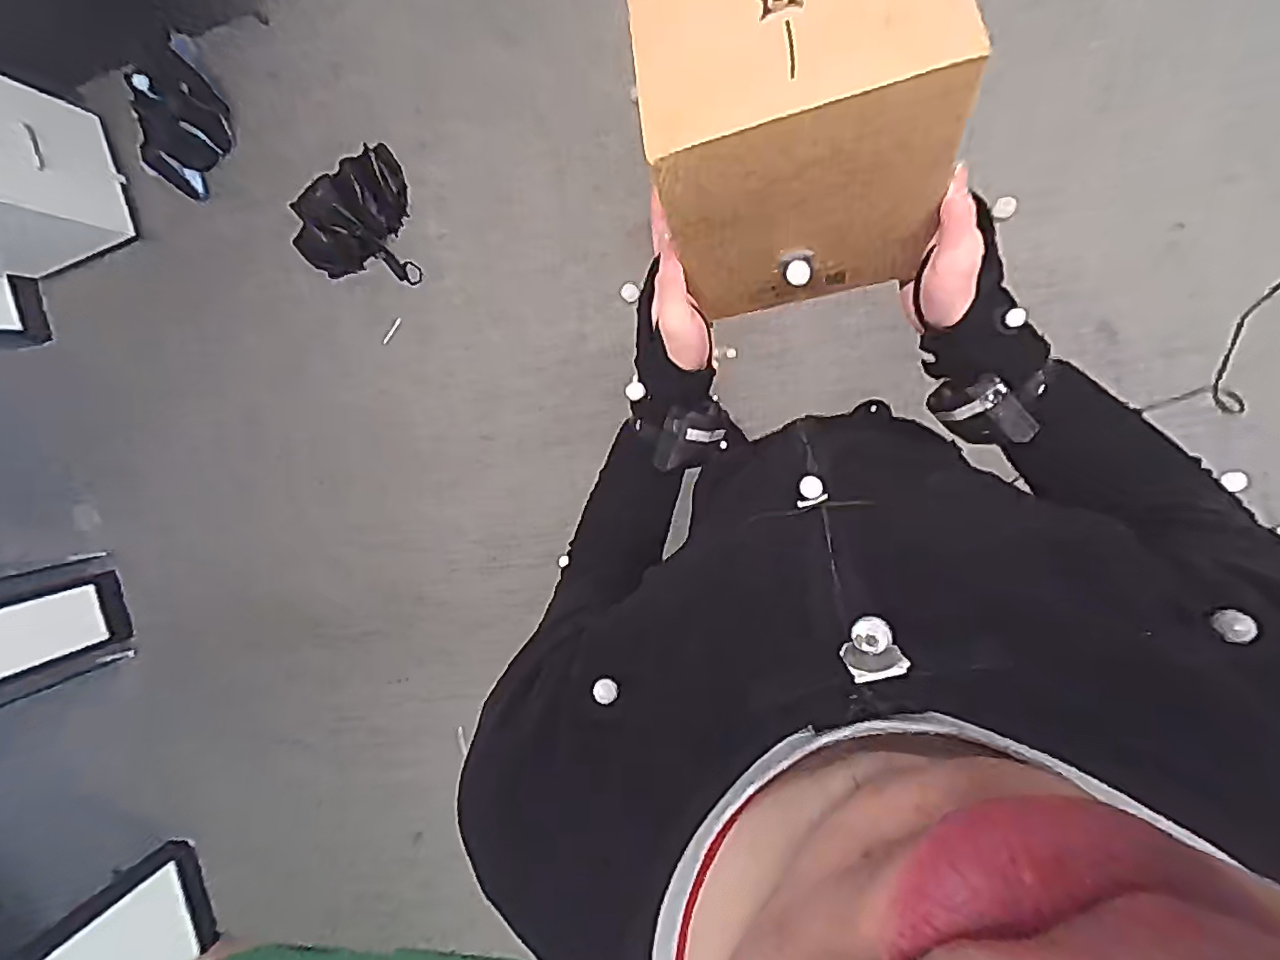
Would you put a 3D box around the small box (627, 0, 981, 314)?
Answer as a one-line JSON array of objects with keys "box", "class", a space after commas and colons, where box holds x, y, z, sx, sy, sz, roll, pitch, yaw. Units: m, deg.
[{"box": [0.093, -0.241, 0.359, 0.168, 0.176, 0.179, -8, 75, 15], "class": "small box"}]
